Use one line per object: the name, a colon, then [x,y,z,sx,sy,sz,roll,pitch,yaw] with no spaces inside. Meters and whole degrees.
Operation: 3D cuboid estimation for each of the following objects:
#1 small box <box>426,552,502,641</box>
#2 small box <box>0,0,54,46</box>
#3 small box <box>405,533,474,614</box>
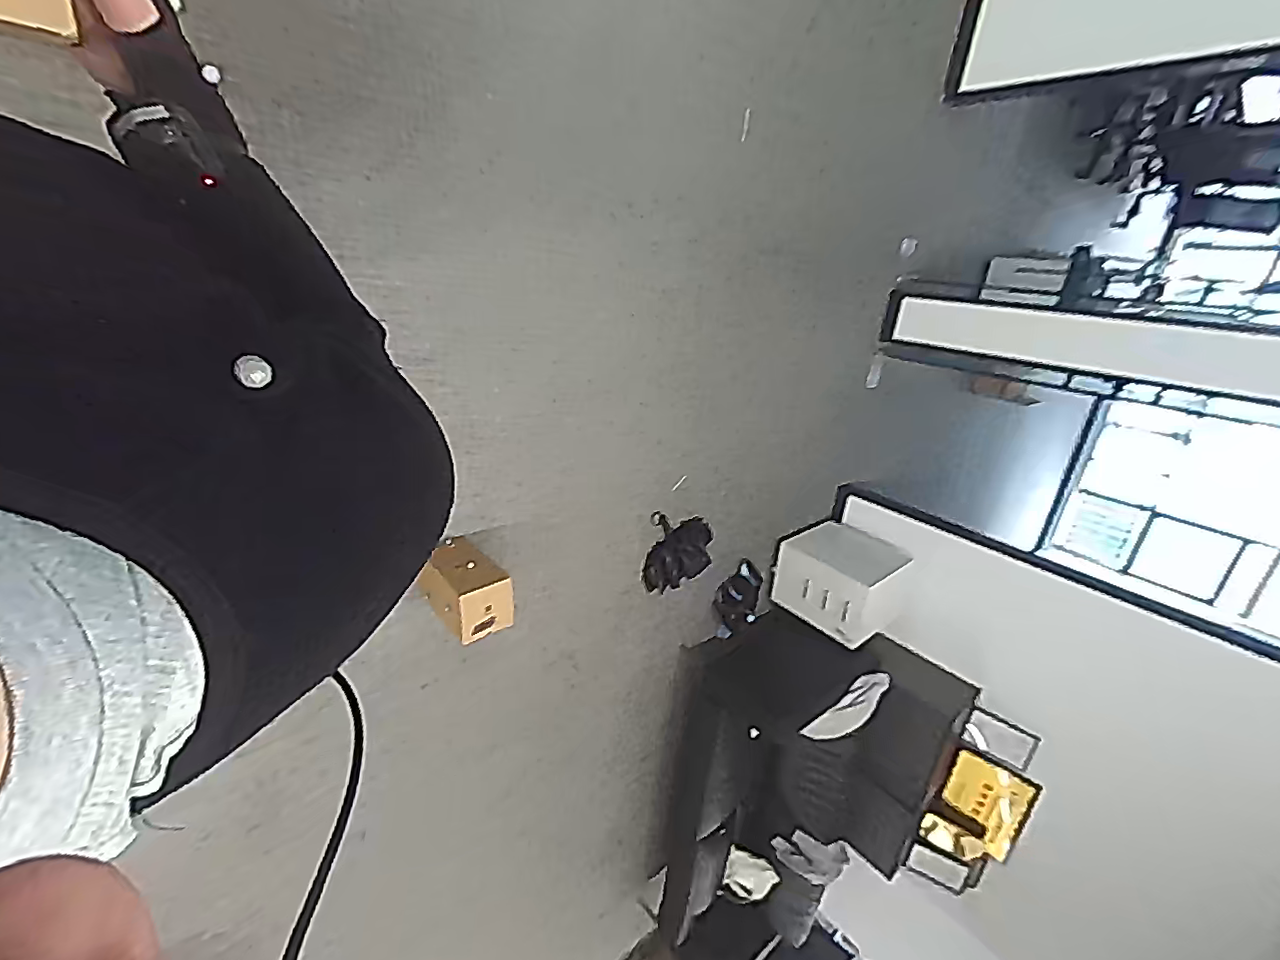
small box: [-0.534,0.348,1.640,0.168,0.176,0.179,-17,121,-40]
small box: [-0.452,-0.350,0.279,0.179,0.176,0.168,-17,128,-43]
small box: [-0.645,0.297,1.751,0.168,0.176,0.179,-17,120,-40]
